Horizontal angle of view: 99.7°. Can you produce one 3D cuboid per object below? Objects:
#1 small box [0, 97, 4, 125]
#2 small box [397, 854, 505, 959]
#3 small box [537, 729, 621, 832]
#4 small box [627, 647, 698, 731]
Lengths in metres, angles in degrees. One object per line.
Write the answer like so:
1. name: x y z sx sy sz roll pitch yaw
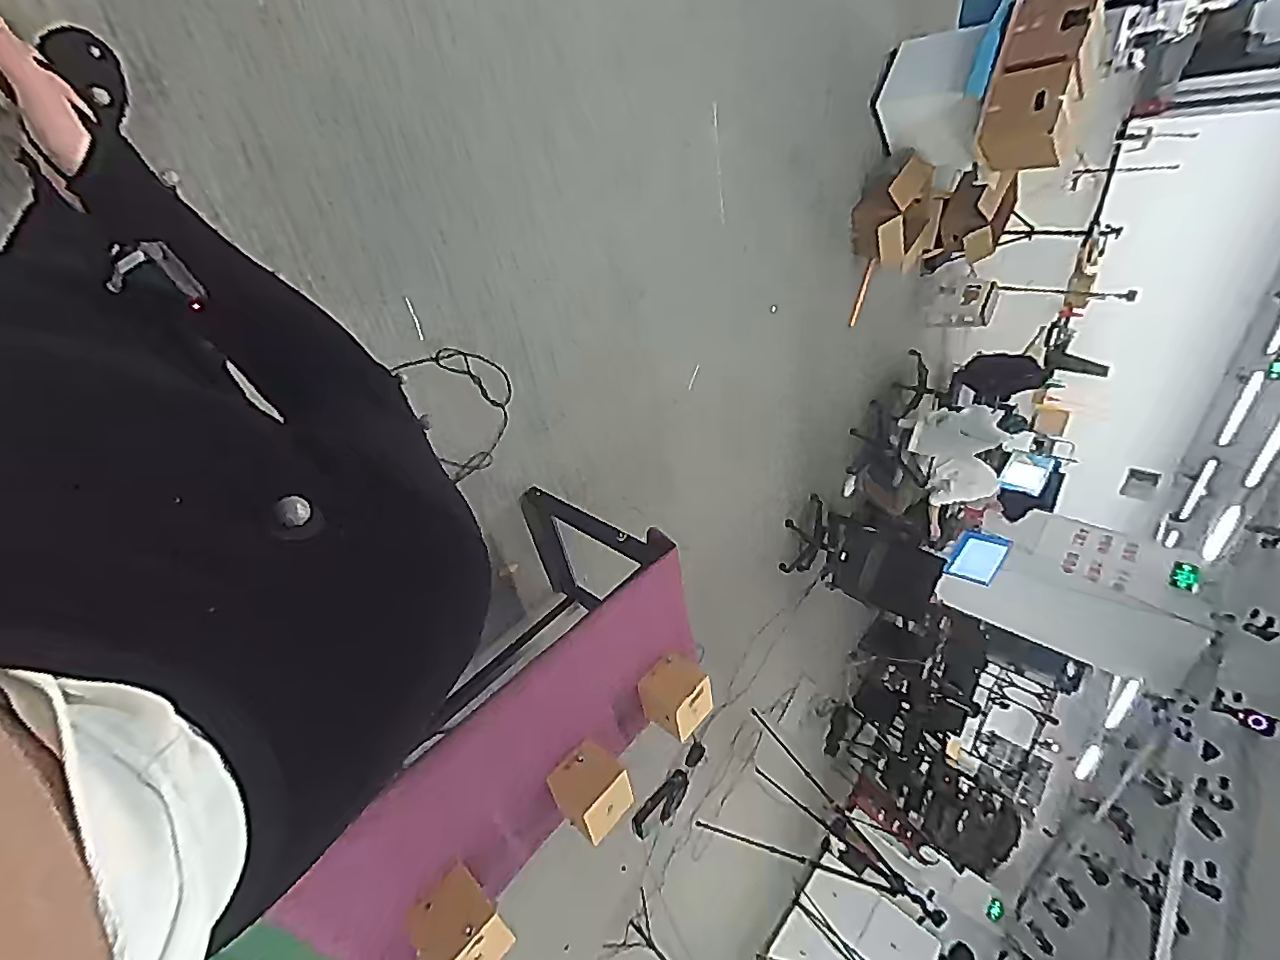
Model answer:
1. small box: -0.575 -0.374 0.362 0.168 0.176 0.179 -13 108 -44
2. small box: -0.473 1.092 1.357 0.168 0.176 0.179 -37 133 -34
3. small box: -0.180 0.883 1.604 0.168 0.176 0.179 -35 132 -35
4. small box: 0.074 0.686 1.802 0.168 0.176 0.179 -36 132 -33
